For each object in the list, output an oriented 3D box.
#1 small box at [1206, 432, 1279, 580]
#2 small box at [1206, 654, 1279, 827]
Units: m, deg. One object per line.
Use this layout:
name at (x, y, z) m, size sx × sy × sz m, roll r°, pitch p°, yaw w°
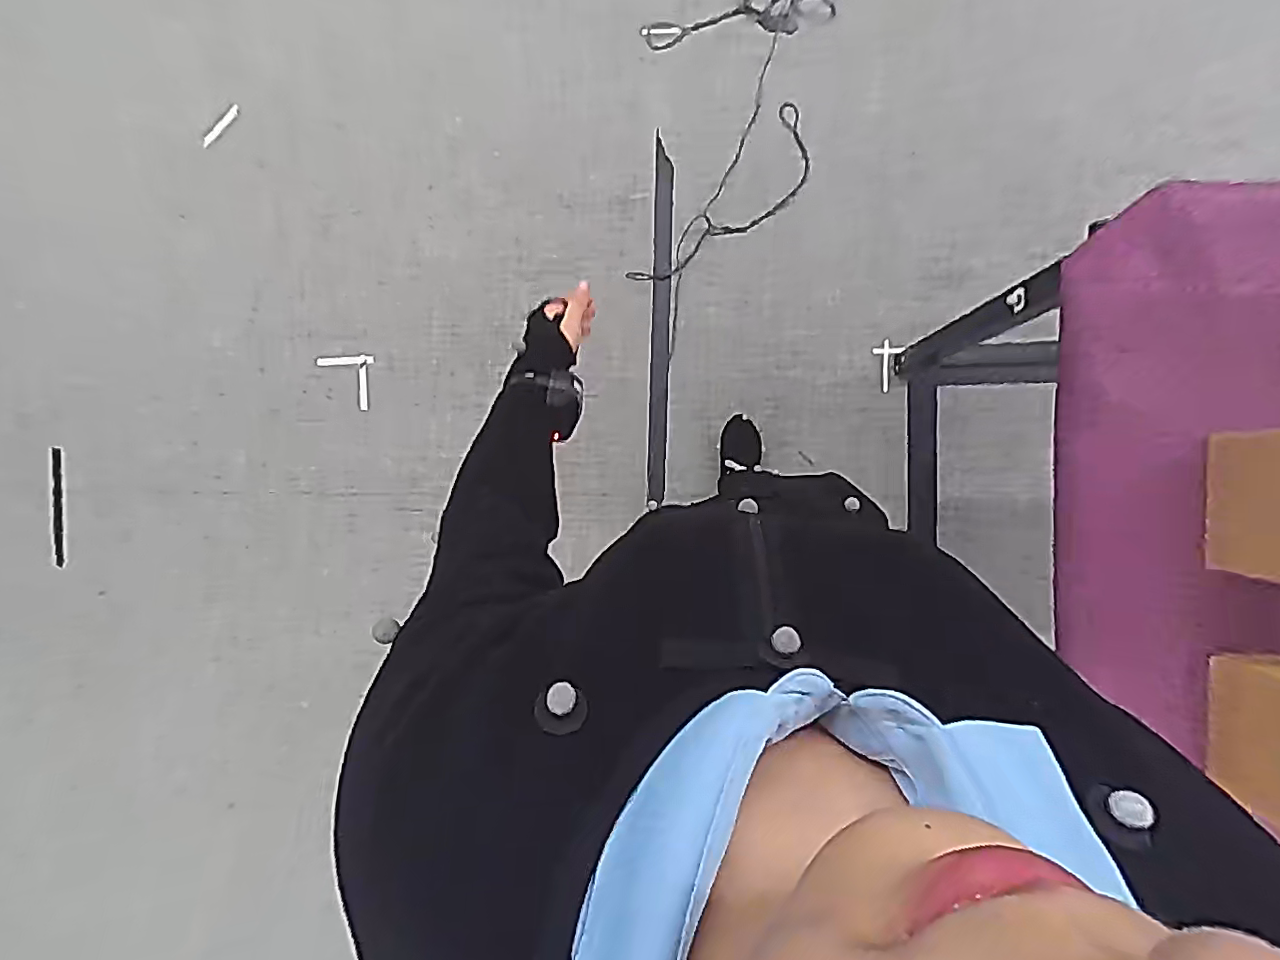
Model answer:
small box at (0.809, 0.032, 0.614) m, size 0.168 × 0.176 × 0.179 m, roll 1°, pitch 92°, yaw 5°
small box at (0.814, 0.318, 0.621) m, size 0.168 × 0.176 × 0.179 m, roll 1°, pitch 90°, yaw 5°
